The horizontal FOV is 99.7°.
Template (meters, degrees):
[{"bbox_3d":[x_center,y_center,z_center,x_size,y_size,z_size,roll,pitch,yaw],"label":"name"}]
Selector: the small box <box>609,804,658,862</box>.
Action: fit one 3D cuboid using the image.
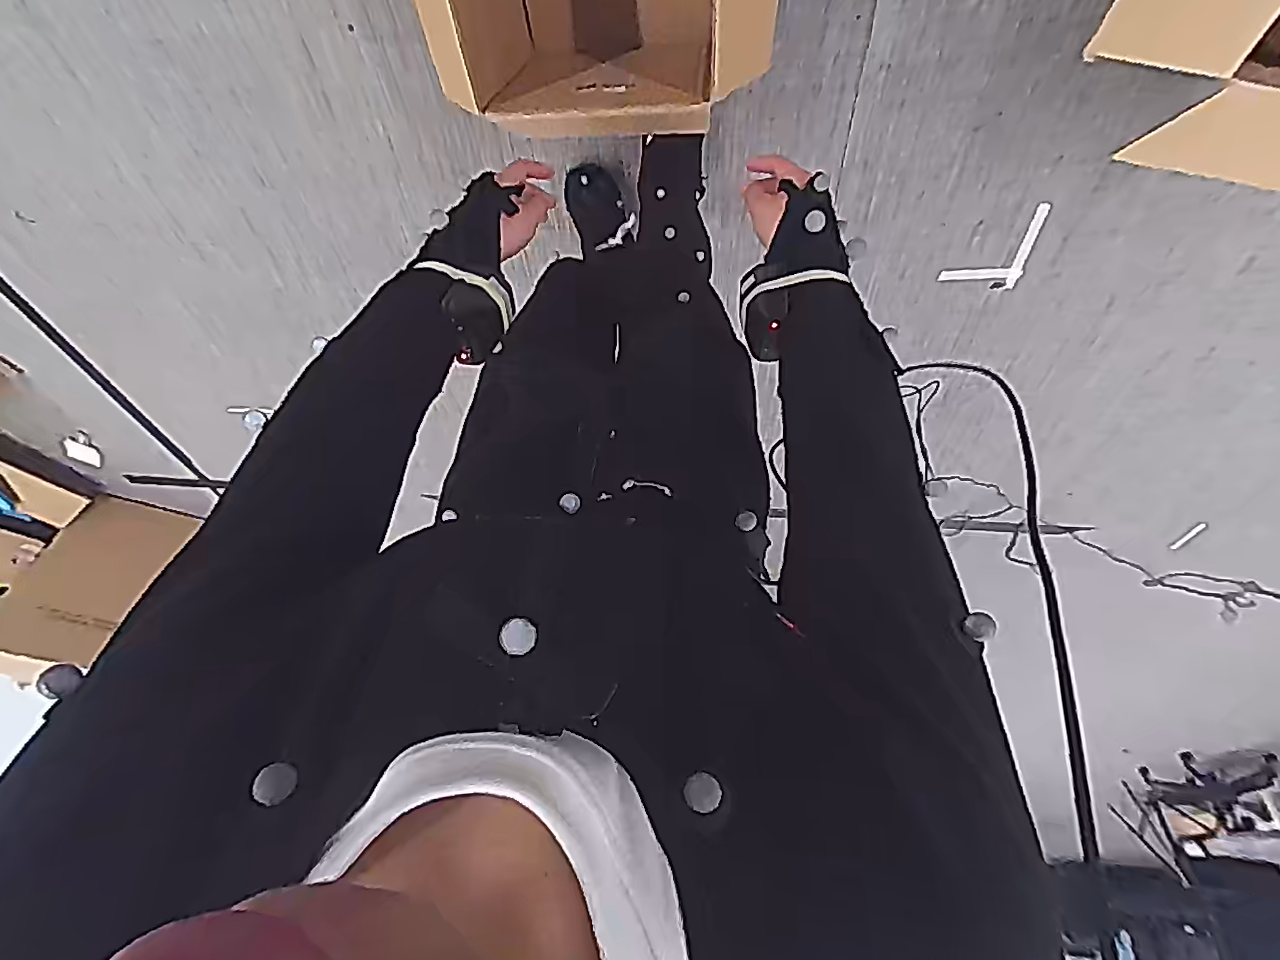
[{"bbox_3d":[-0.025,1.408,2.158,0.179,0.176,0.168,7,139,2],"label":"small box"}]
